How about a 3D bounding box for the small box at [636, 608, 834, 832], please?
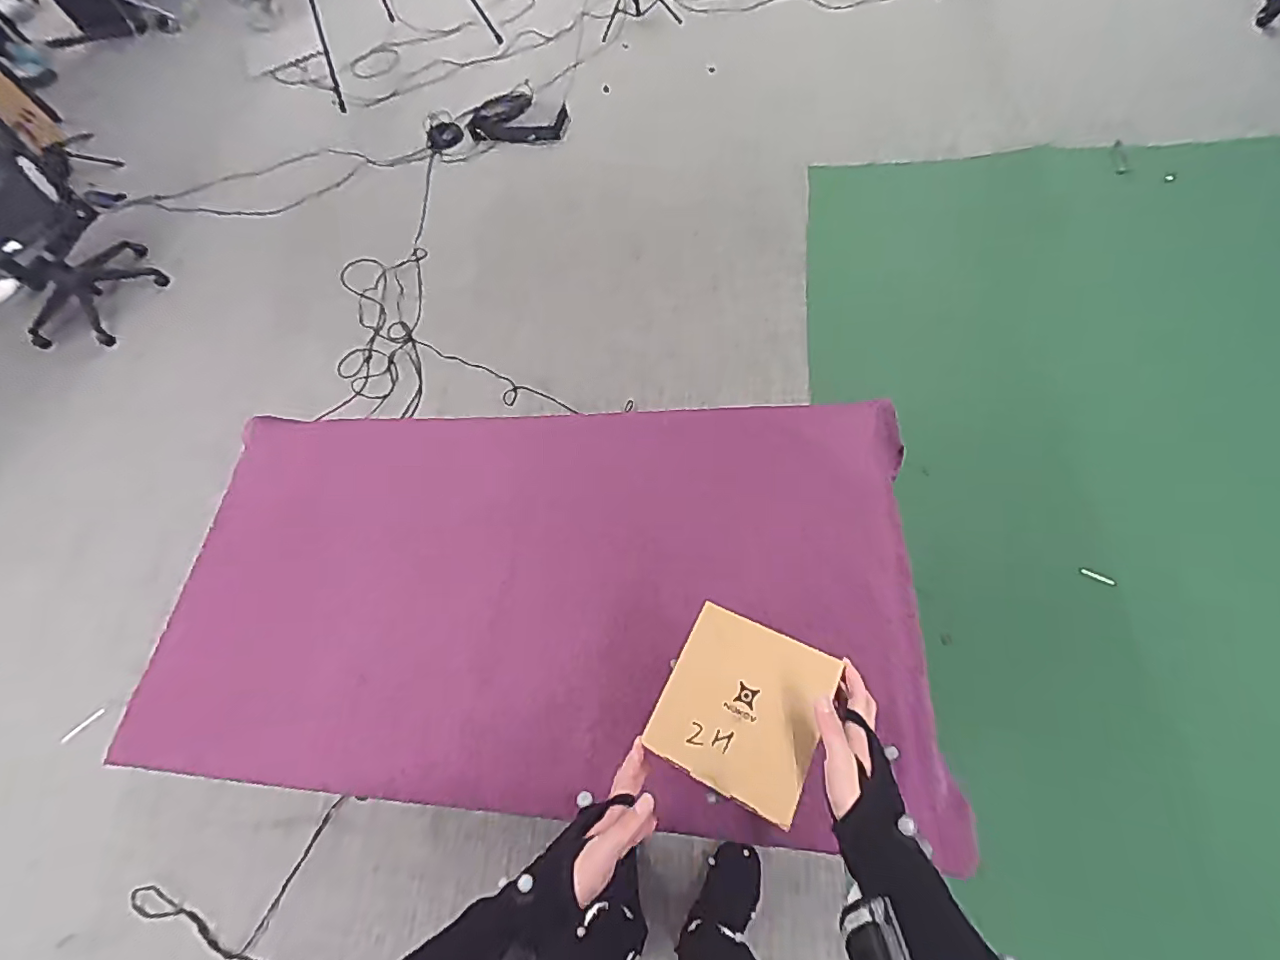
[{"bbox_3d":[0.118,0.286,0.652,0.168,0.176,0.179,19,66,24],"label":"small box"}]
